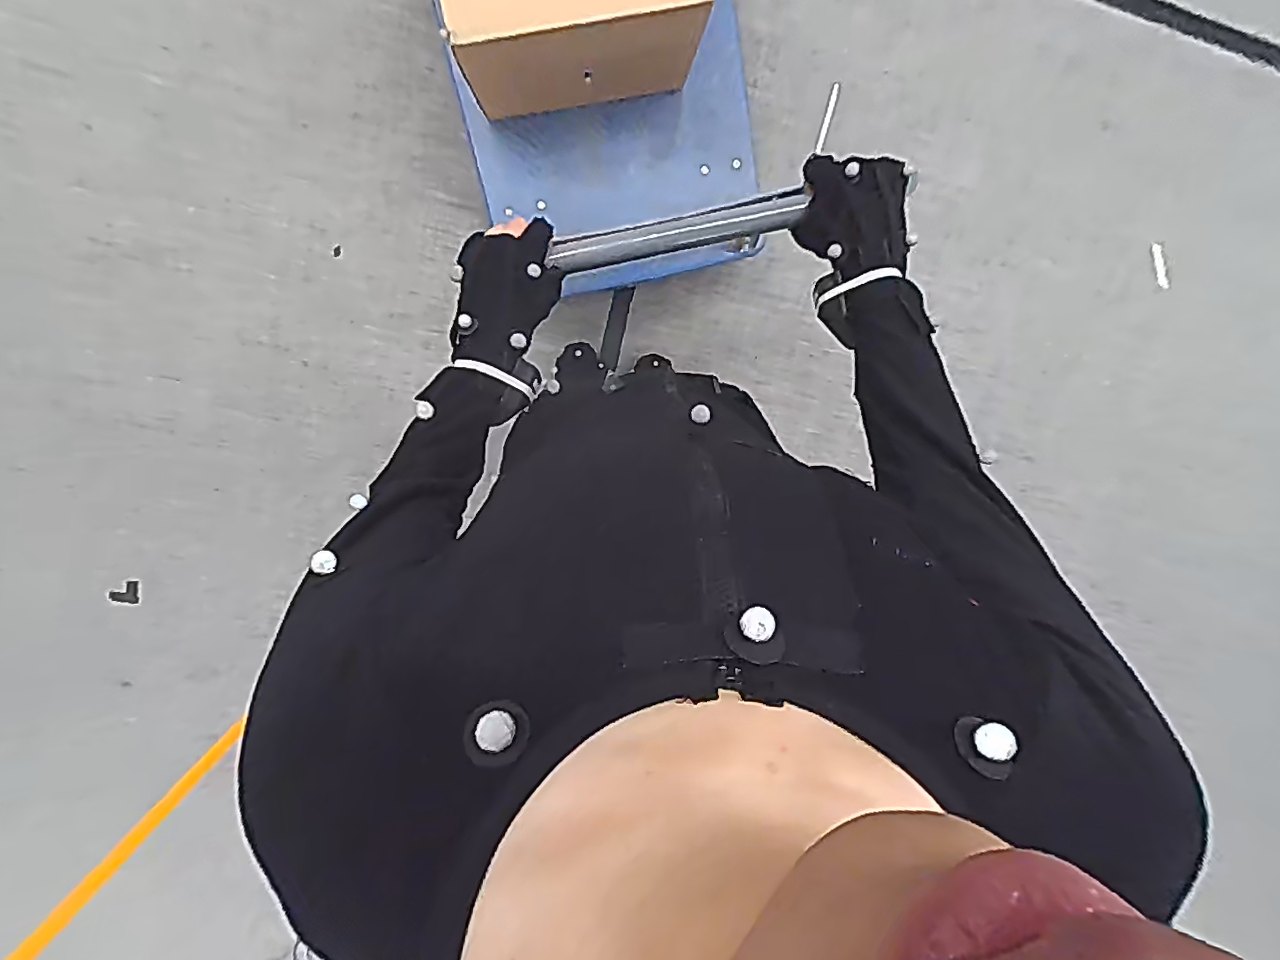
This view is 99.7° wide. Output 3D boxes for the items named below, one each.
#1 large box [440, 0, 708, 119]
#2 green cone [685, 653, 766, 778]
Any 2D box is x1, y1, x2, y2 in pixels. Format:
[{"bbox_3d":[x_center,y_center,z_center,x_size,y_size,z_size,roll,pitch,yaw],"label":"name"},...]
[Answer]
[{"bbox_3d":[-0.126,-0.870,0.919,0.408,0.320,0.320,-11,106,-1],"label":"large box"},{"bbox_3d":[0.276,0.690,1.532,0.202,0.368,0.200,15,103,-10],"label":"green cone"}]
